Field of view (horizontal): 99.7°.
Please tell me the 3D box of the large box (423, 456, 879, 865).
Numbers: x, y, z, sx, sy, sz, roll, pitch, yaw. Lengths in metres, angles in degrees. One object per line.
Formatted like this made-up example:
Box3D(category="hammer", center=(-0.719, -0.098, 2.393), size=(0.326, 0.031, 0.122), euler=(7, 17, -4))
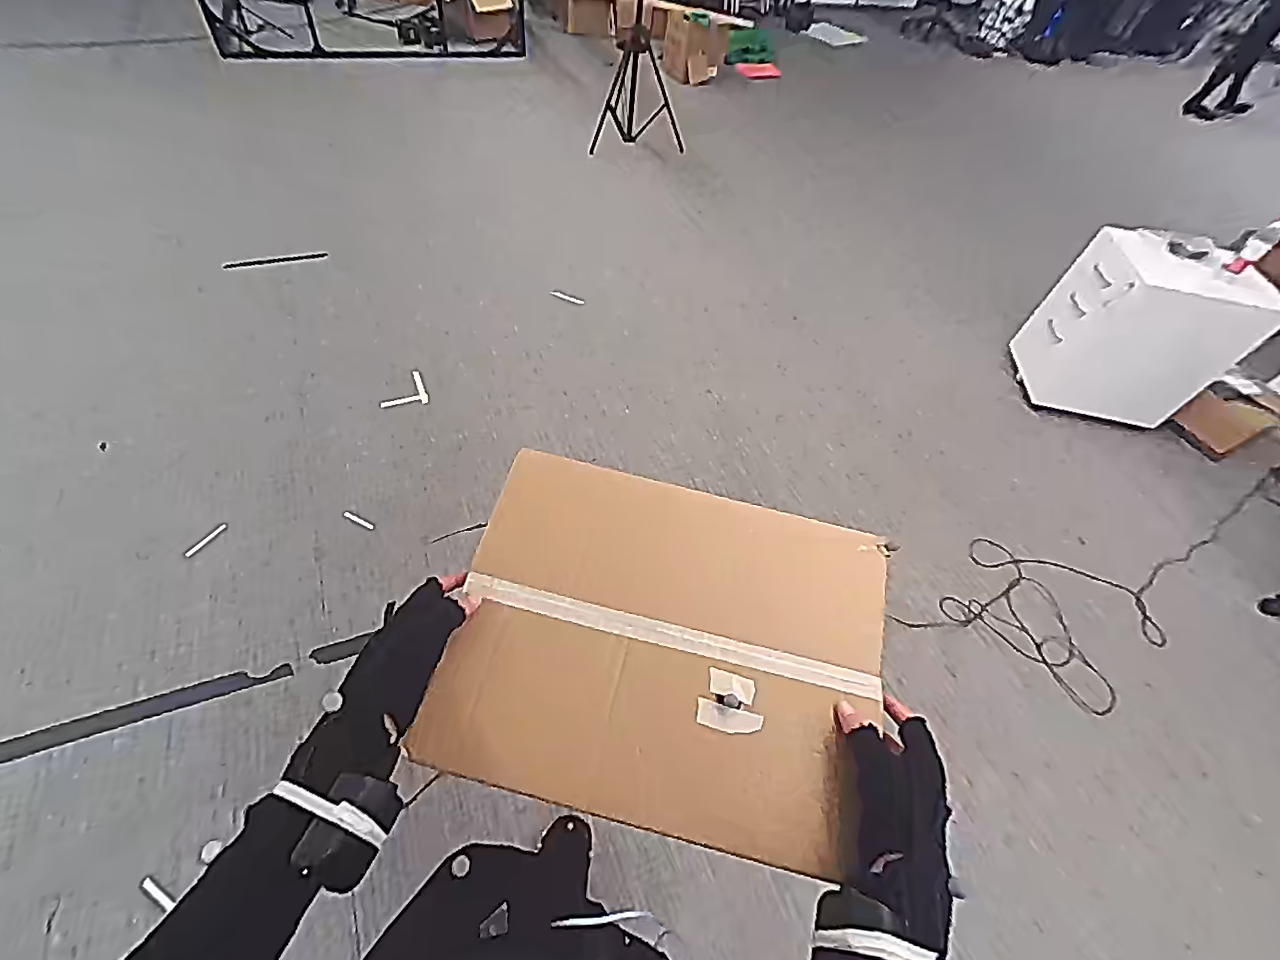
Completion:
Box3D(category="large box", center=(0.022, 0.214, 0.666), size=(0.408, 0.320, 0.320), euler=(15, 65, 3))
